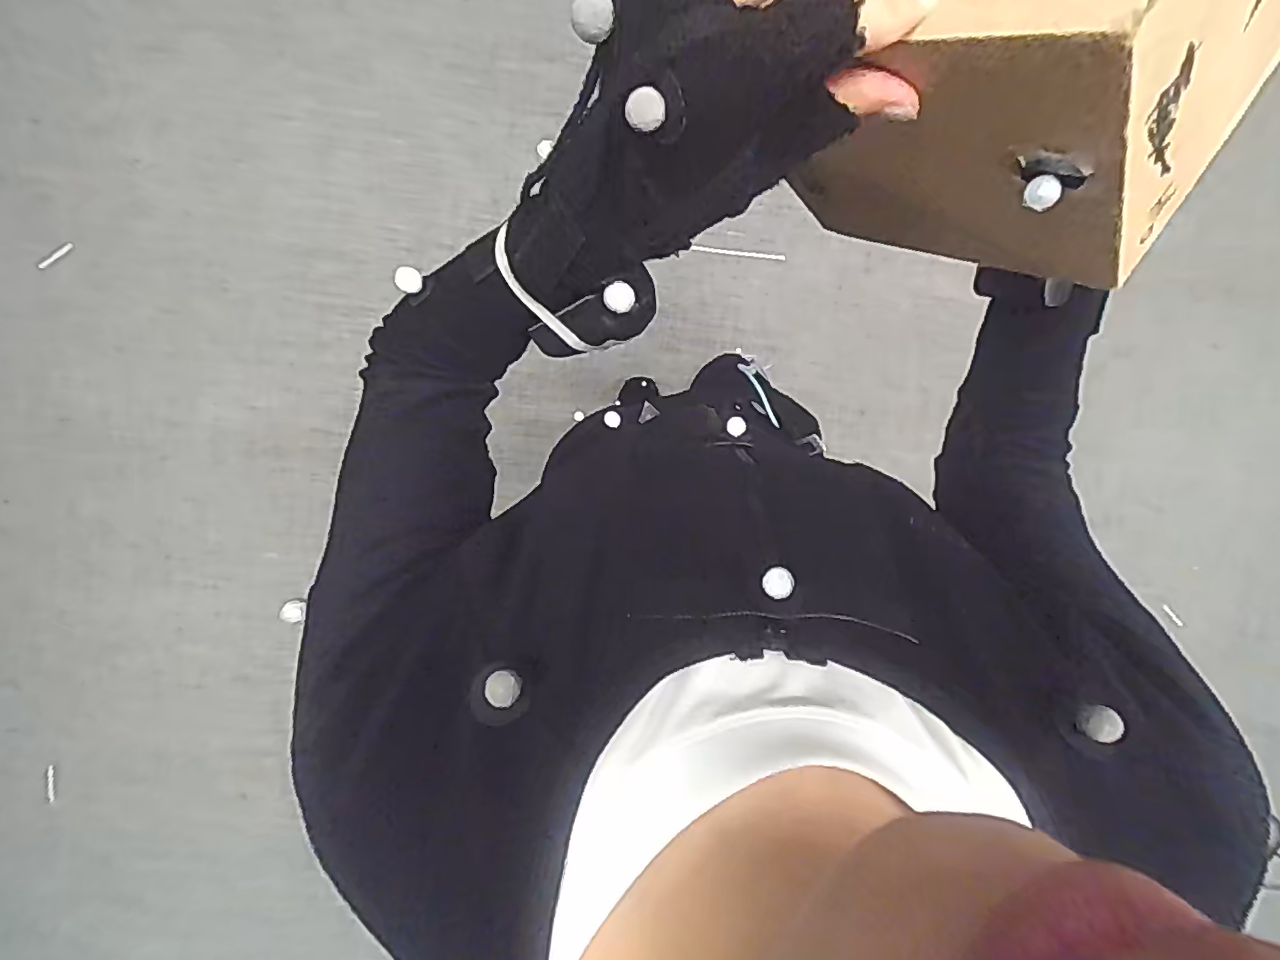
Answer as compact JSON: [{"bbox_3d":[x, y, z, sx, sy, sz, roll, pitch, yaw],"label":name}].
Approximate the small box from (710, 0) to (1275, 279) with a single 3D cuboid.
[{"bbox_3d":[0.161,-0.223,0.242,0.168,0.176,0.179,13,108,-49],"label":"small box"}]
